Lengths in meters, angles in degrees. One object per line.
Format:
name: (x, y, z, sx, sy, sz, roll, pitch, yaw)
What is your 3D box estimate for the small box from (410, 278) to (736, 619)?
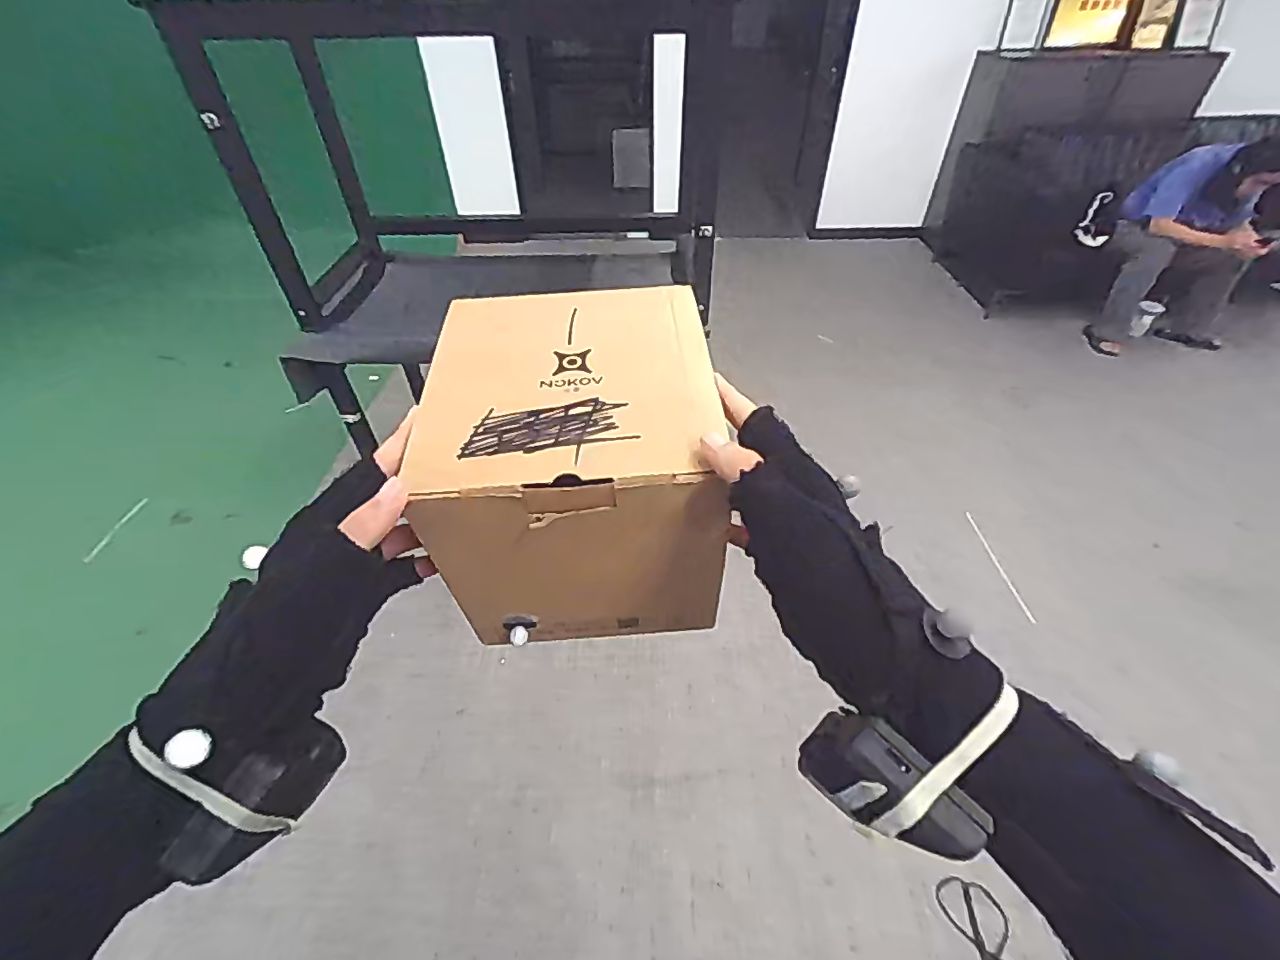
small box: (-0.033, -0.016, 0.376, 0.168, 0.176, 0.179, -4, 47, -1)
